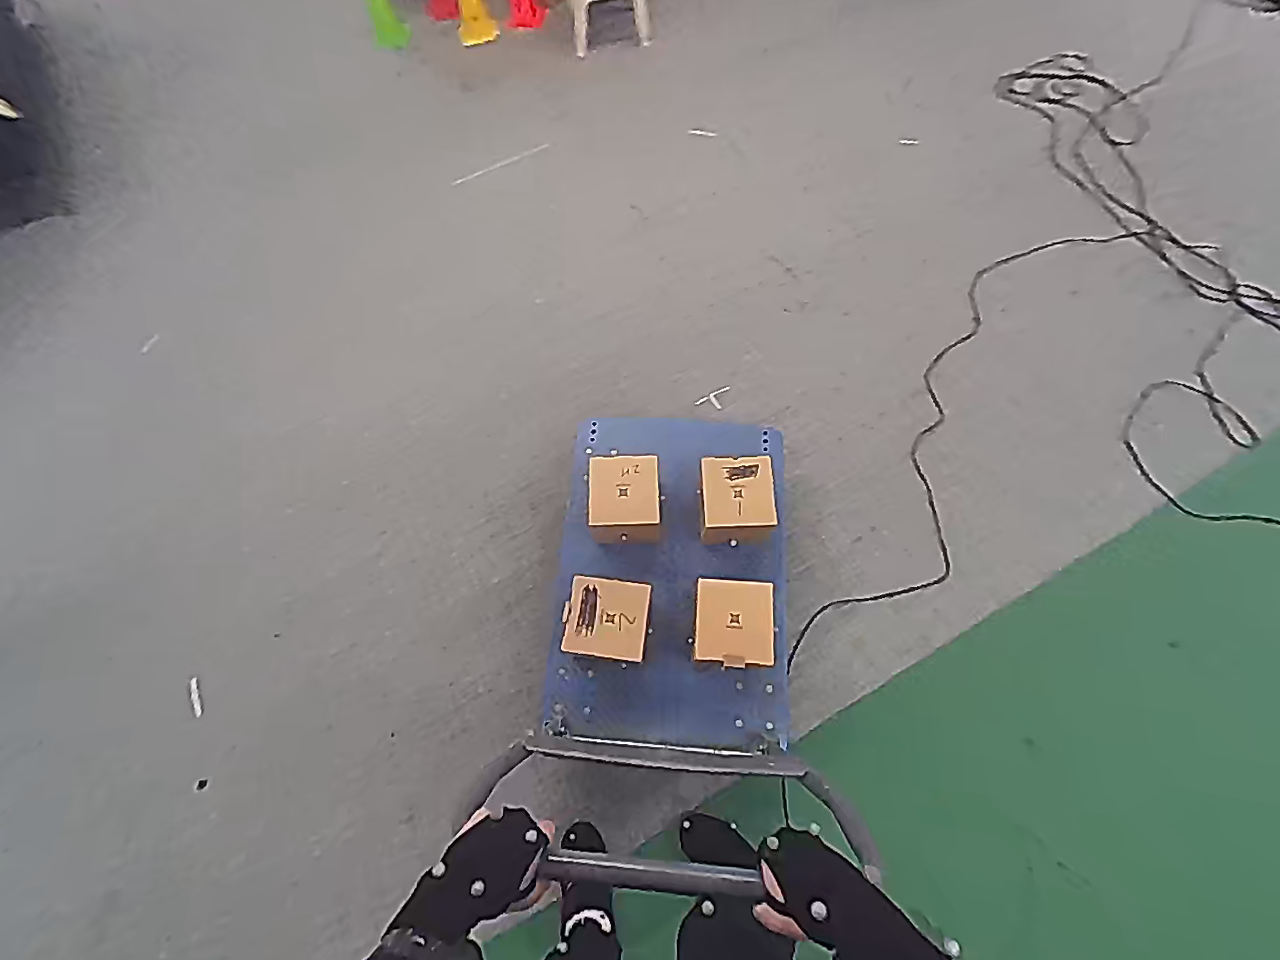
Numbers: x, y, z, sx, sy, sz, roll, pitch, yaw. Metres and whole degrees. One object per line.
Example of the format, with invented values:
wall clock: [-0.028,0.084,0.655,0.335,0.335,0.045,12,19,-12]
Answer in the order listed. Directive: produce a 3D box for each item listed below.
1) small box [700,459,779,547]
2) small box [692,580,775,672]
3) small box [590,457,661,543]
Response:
small box: [0.239,0.060,1.335,0.168,0.176,0.179,-1,69,2]
small box: [0.209,0.336,1.230,0.168,0.176,0.179,4,70,3]
small box: [-0.030,0.055,1.346,0.168,0.176,0.179,-1,68,1]
